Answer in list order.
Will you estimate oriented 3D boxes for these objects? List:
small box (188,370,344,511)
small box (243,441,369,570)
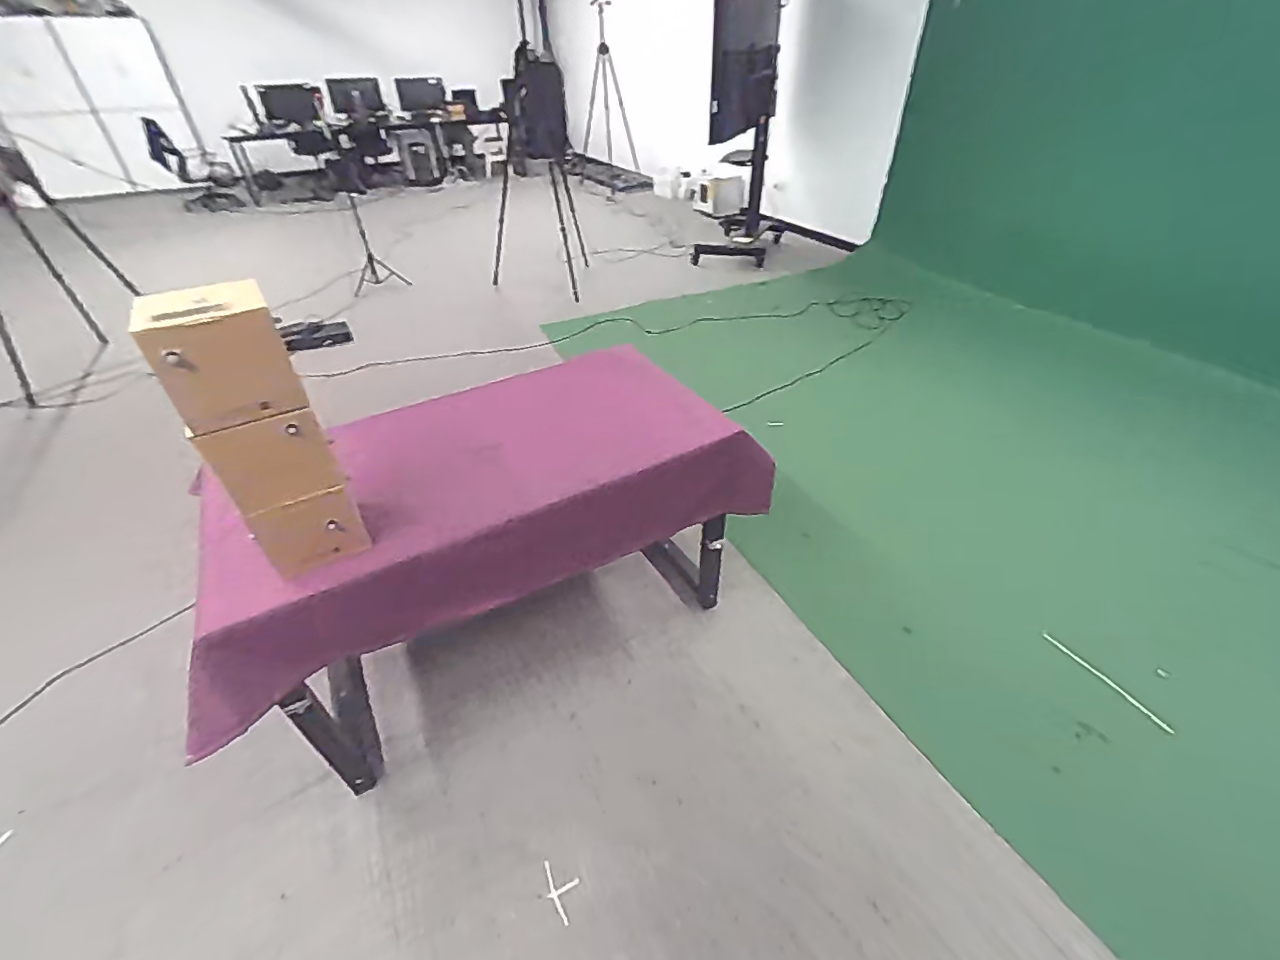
[{"bbox_3d":[-0.662,-0.071,0.964,0.179,0.176,0.168,-22,43,-27],"label":"small box"},{"bbox_3d":[-0.656,0.054,1.067,0.168,0.176,0.179,-21,42,-25],"label":"small box"}]
